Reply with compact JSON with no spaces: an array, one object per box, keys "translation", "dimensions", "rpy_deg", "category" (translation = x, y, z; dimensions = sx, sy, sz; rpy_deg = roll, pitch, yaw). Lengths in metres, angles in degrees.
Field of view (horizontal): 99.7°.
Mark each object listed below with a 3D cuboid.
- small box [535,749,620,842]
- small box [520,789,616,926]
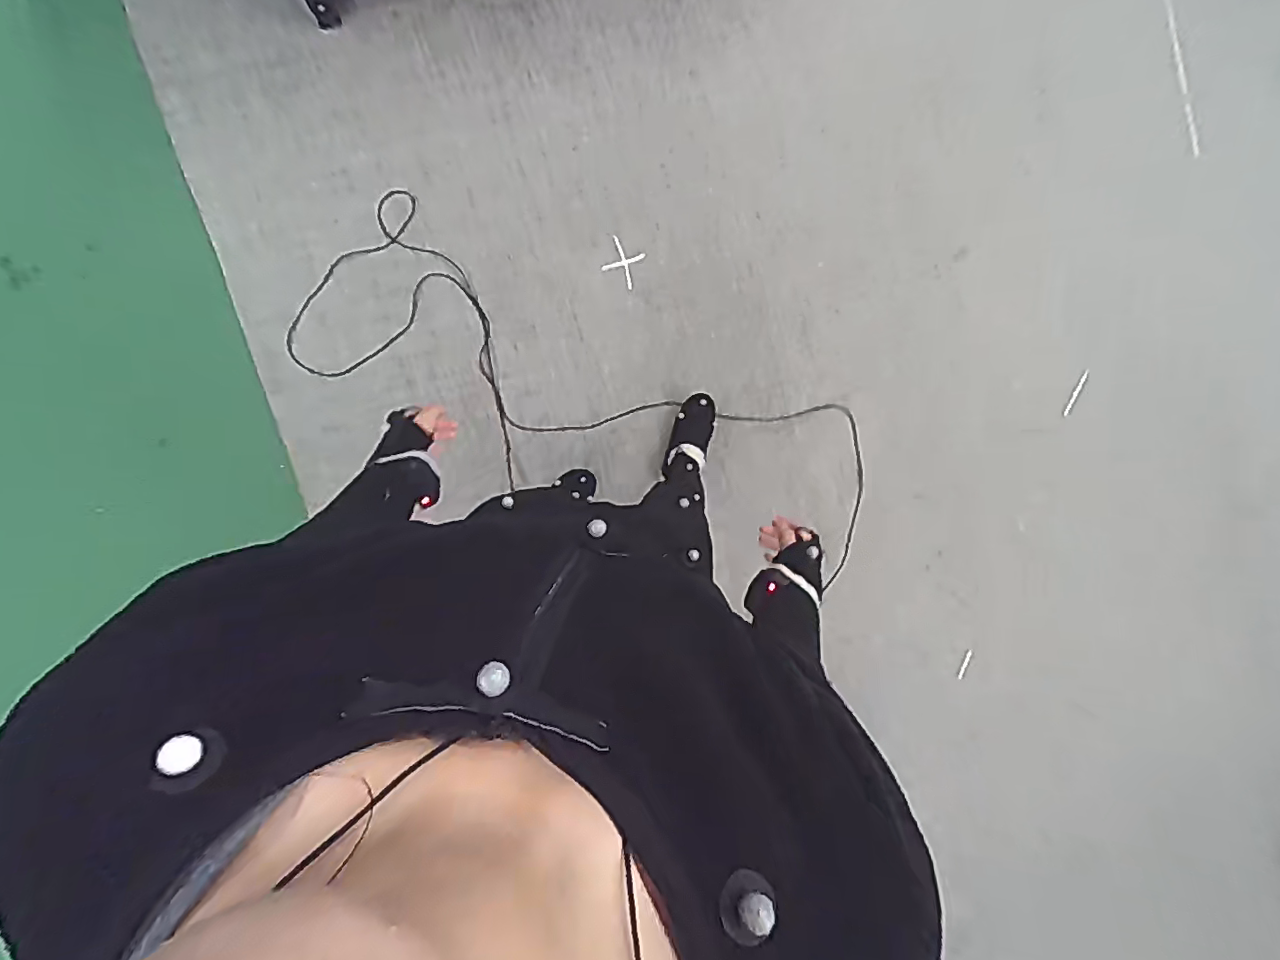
[{"translation":[-0.165,0.836,1.403],"dimensions":[0.179,0.176,0.168],"rpy_deg":[-20,94,-5],"category":"small box"},{"translation":[-0.163,0.847,1.238],"dimensions":[0.168,0.176,0.179],"rpy_deg":[-19,95,-4],"category":"small box"}]
